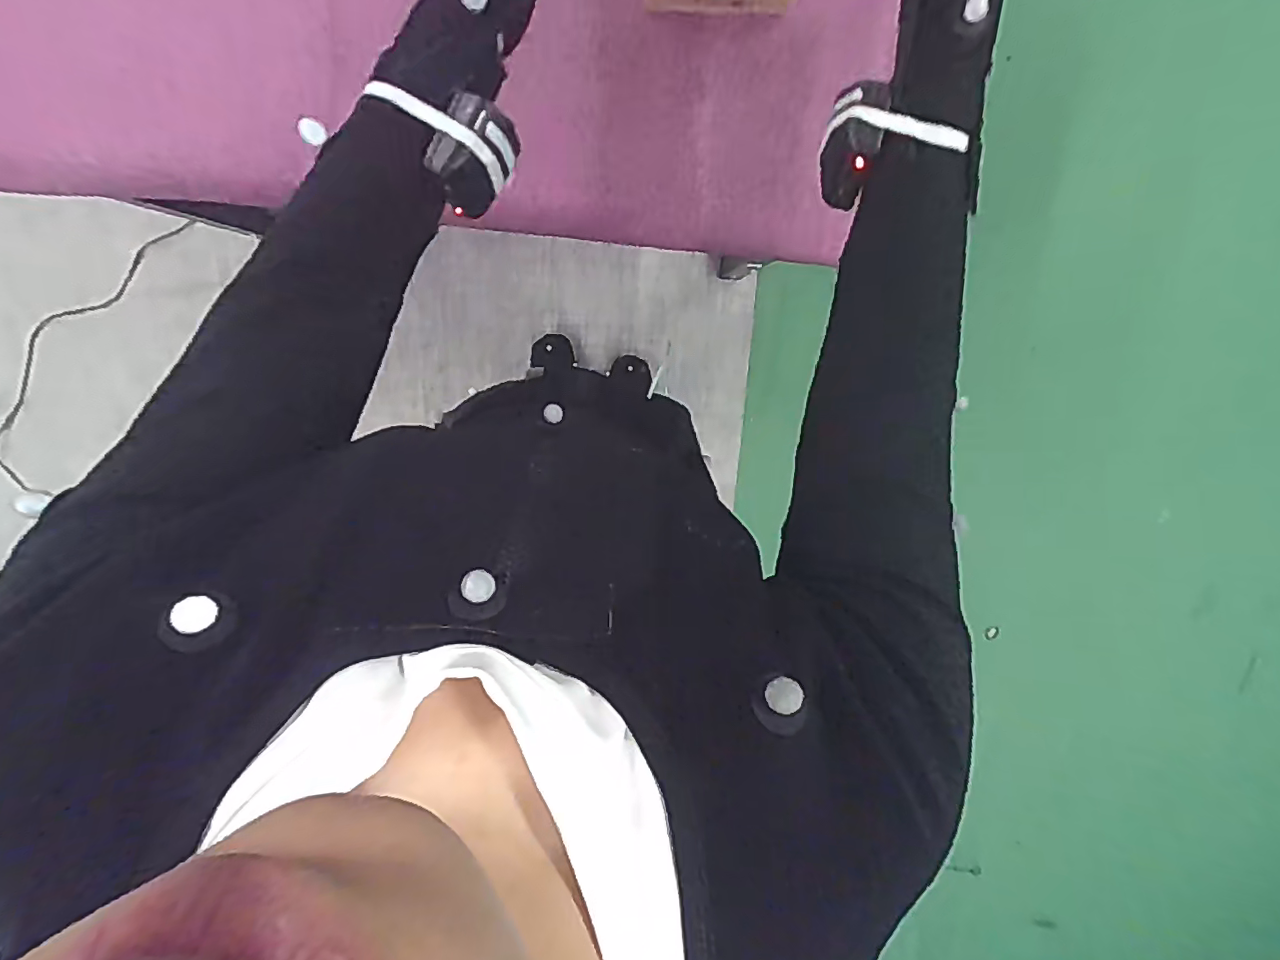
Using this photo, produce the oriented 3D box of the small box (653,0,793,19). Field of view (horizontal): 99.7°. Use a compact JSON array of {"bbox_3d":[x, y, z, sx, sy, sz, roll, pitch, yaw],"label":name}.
[{"bbox_3d":[0.091,-0.588,0.508,0.168,0.176,0.179,1,105,-2],"label":"small box"}]
